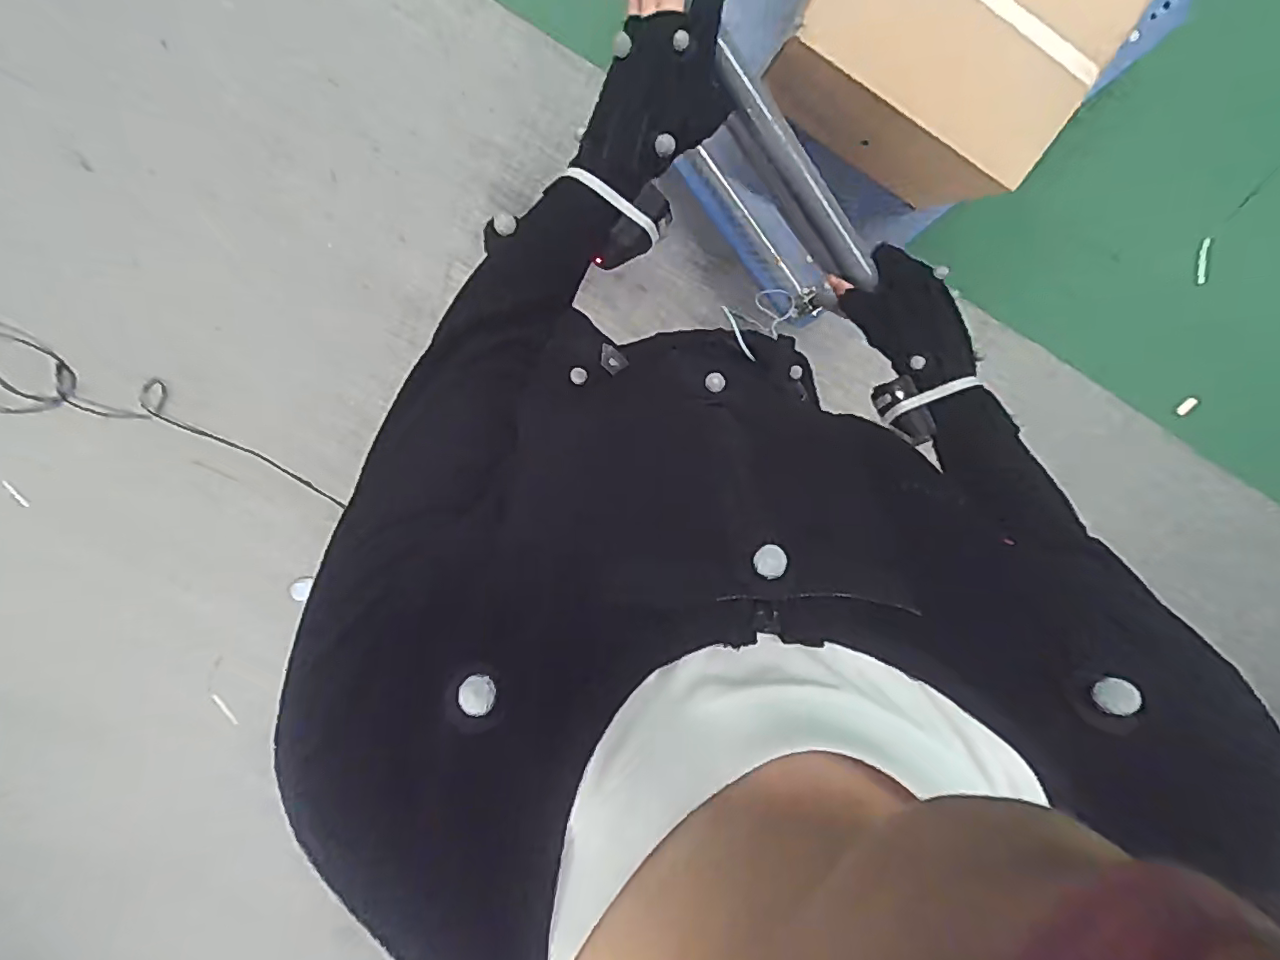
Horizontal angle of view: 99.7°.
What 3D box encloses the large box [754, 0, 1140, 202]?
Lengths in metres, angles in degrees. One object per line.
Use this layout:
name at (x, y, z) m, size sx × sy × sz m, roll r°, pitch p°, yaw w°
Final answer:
large box at (0.454, -0.705, 0.868) m, size 0.408 × 0.320 × 0.320 m, roll 28°, pitch 110°, yaw -10°
